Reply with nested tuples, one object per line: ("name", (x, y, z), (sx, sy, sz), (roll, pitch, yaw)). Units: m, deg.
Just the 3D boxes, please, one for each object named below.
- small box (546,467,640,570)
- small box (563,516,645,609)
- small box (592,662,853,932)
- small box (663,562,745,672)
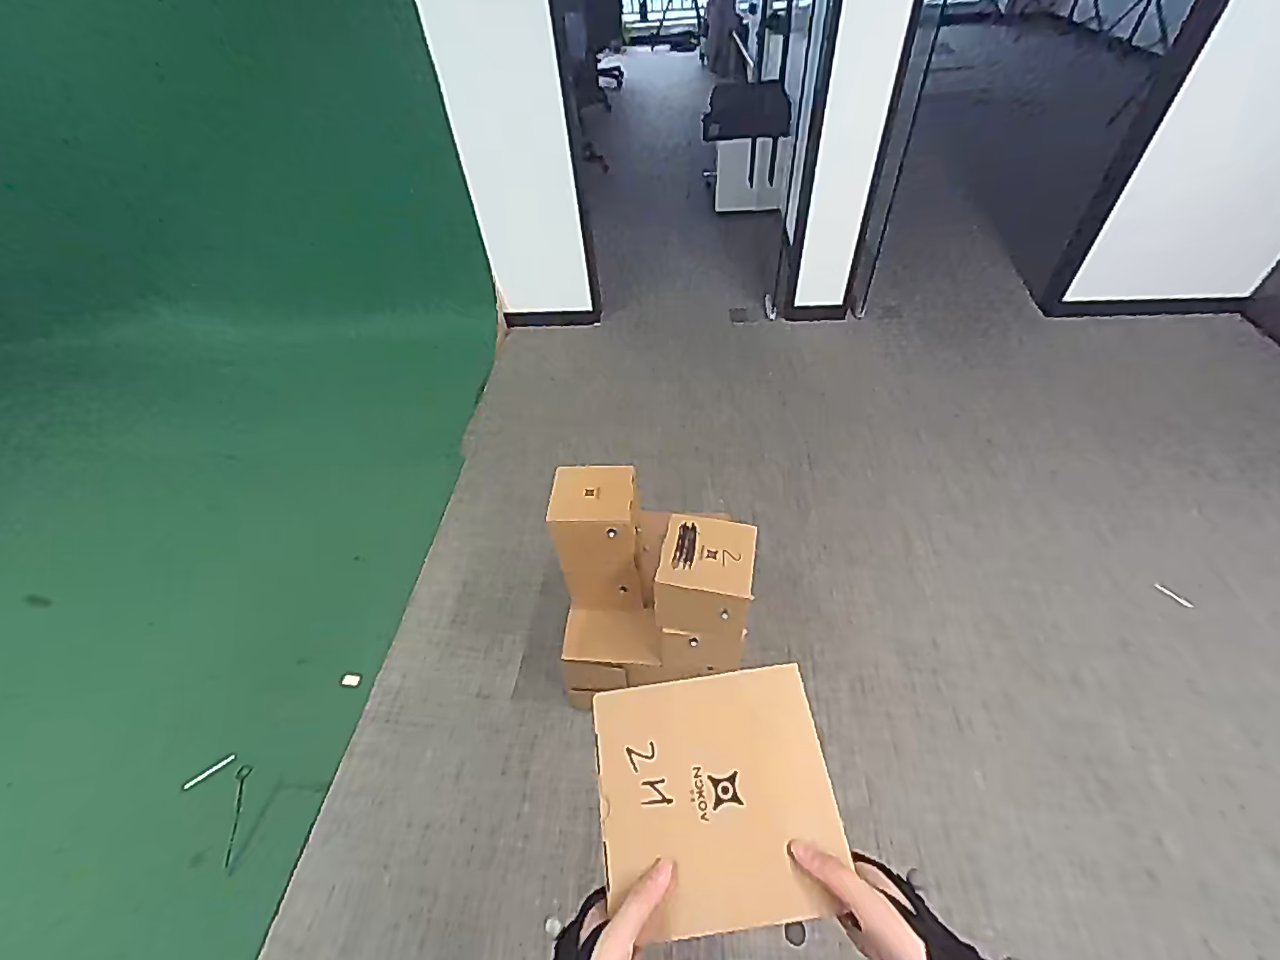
("small box", (-0.097, 0.087, 1.206), (0.179, 0.176, 0.168), (0, 45, 4))
("small box", (-0.079, 0.202, 1.320), (0.179, 0.176, 0.168), (-2, 45, 5))
("small box", (0.059, 0.273, 0.478), (0.179, 0.176, 0.168), (-8, 56, 1))
("small box", (0.142, 0.307, 1.197), (0.168, 0.176, 0.179), (4, 47, 8))
